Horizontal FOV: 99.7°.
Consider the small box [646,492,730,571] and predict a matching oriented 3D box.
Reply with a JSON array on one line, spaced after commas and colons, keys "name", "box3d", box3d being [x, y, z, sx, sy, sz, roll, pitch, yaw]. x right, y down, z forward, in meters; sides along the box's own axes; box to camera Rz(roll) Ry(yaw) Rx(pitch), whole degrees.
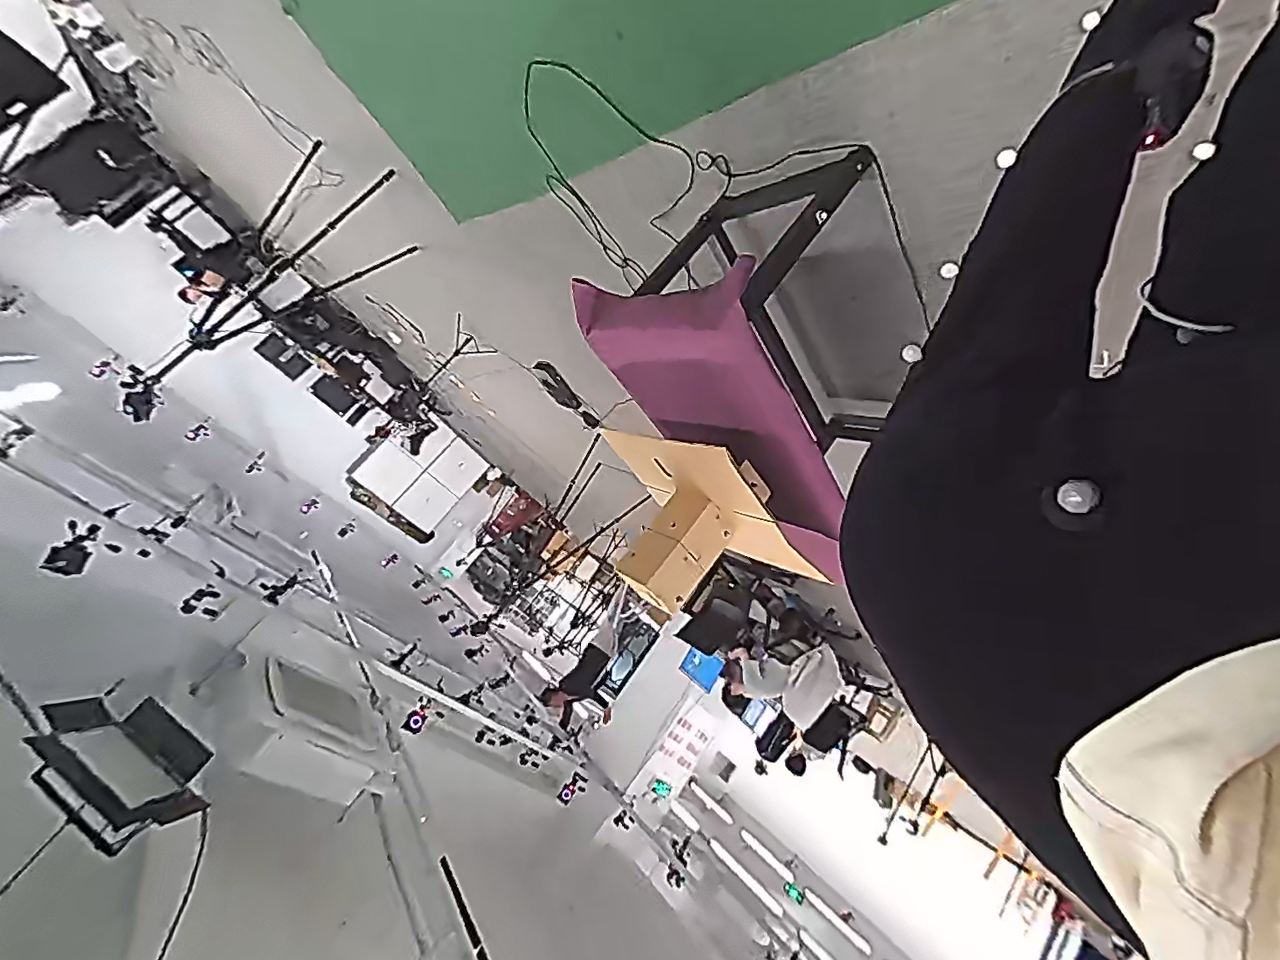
[{"name": "small box", "box3d": [0.160, 0.156, 1.716, 0.179, 0.176, 0.168, 16, 151, 54]}]
